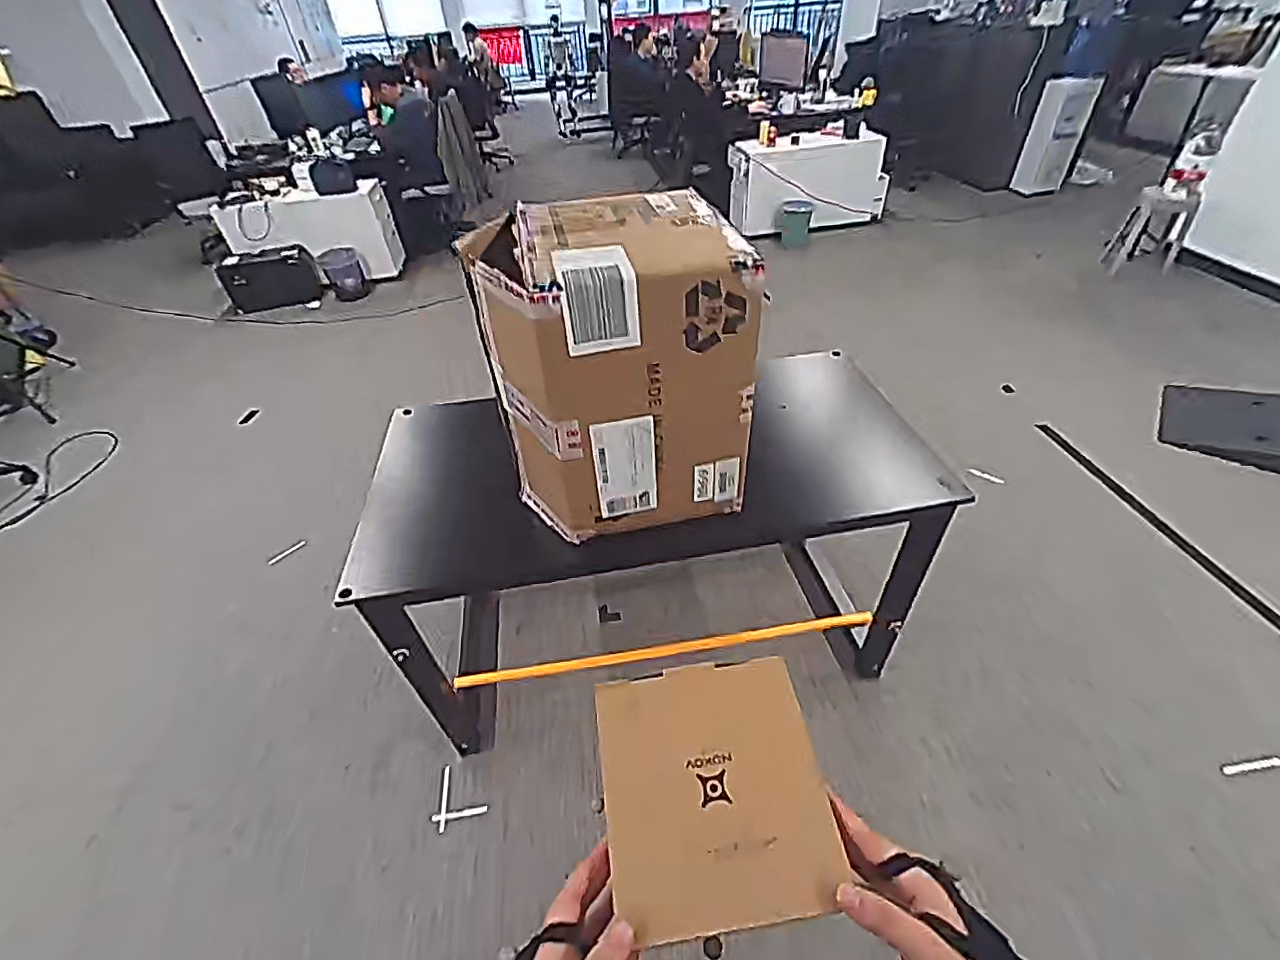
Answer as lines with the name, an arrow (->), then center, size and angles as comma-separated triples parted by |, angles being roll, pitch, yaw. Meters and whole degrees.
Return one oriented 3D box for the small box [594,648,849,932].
small box -> 0.051, 0.271, 0.472 | 0.168, 0.176, 0.179 | -7, 52, -4
